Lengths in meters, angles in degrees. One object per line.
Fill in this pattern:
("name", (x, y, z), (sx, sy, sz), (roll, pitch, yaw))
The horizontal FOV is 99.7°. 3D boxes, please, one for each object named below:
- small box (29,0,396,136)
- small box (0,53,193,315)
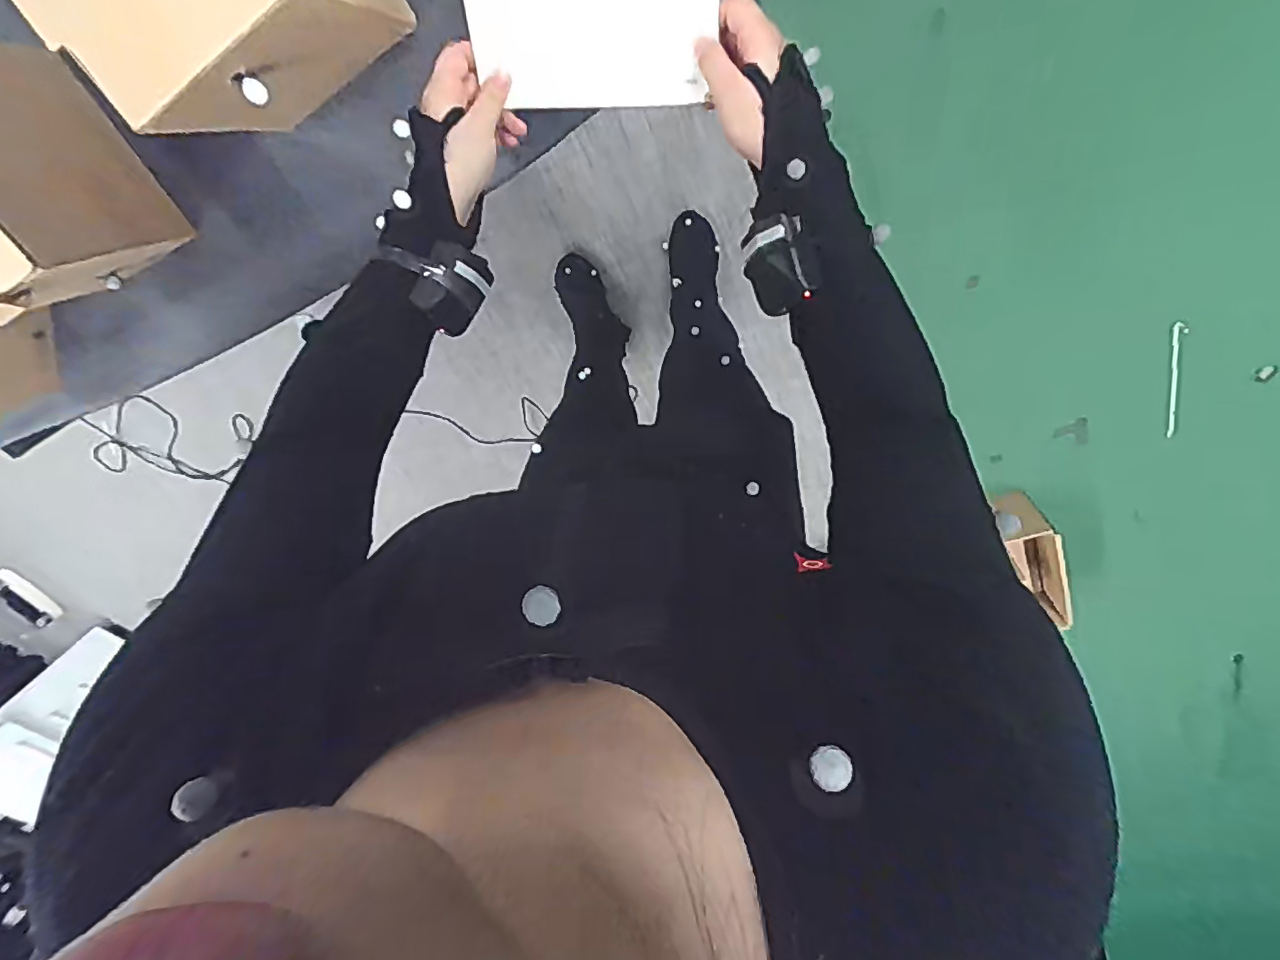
("small box", (-0.309, -0.381, 0.387), (0.179, 0.176, 0.168), (-19, 120, 22))
("small box", (-0.597, -0.271, 0.508), (0.168, 0.176, 0.179), (-15, 121, 19))
